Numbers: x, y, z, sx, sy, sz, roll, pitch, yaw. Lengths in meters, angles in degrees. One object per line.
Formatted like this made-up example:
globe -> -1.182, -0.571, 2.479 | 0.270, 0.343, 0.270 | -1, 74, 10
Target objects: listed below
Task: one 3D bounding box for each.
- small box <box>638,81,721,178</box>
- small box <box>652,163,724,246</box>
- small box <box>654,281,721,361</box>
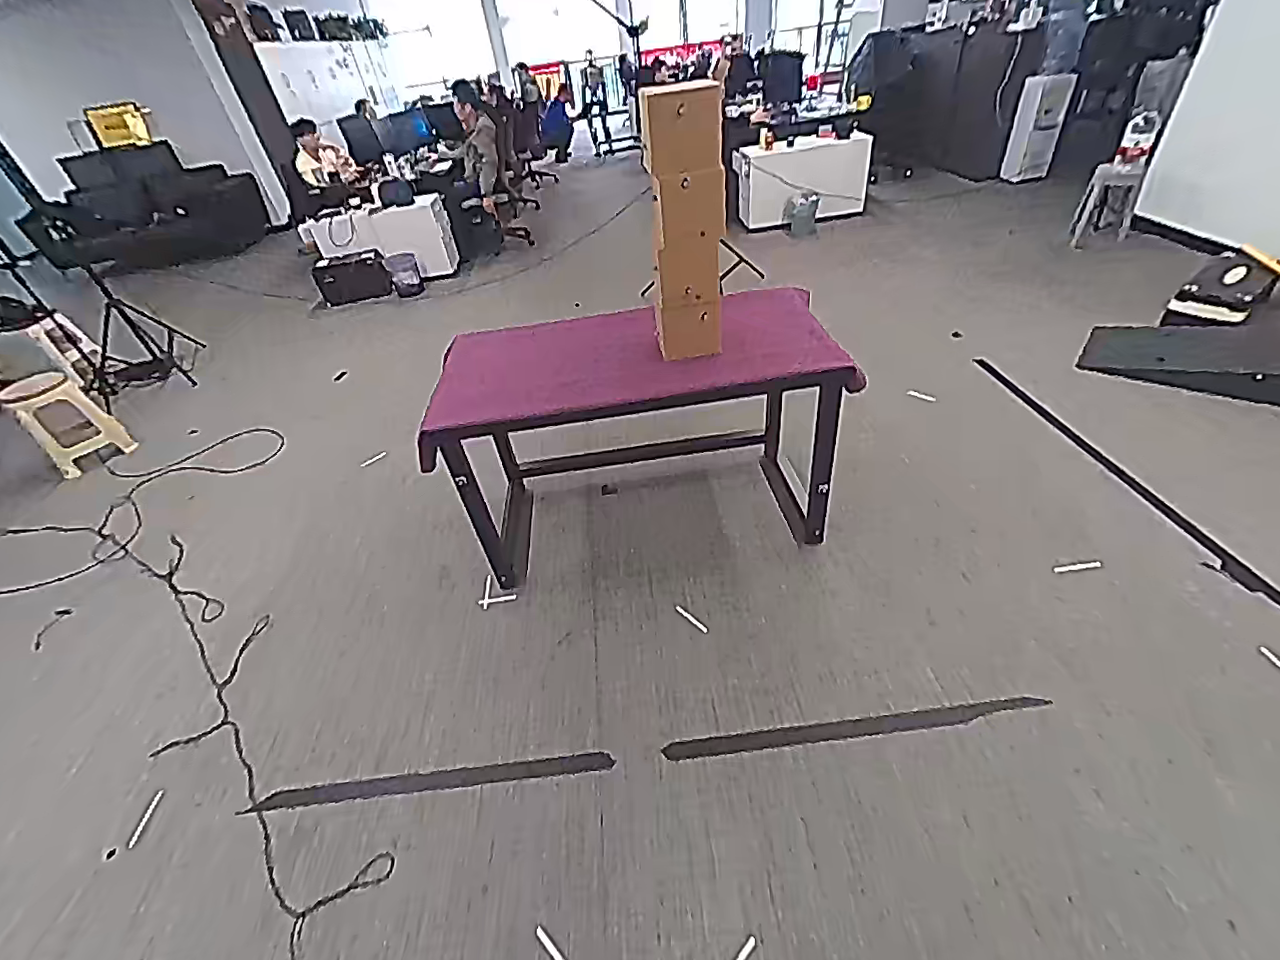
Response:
small box -> 0.097, -0.863, 1.333 | 0.179, 0.176, 0.168 | -10, 40, -1
small box -> 0.124, -0.732, 1.427 | 0.168, 0.176, 0.179 | -9, 39, -1
small box -> 0.143, -0.479, 1.635 | 0.179, 0.176, 0.168 | -10, 39, 0
